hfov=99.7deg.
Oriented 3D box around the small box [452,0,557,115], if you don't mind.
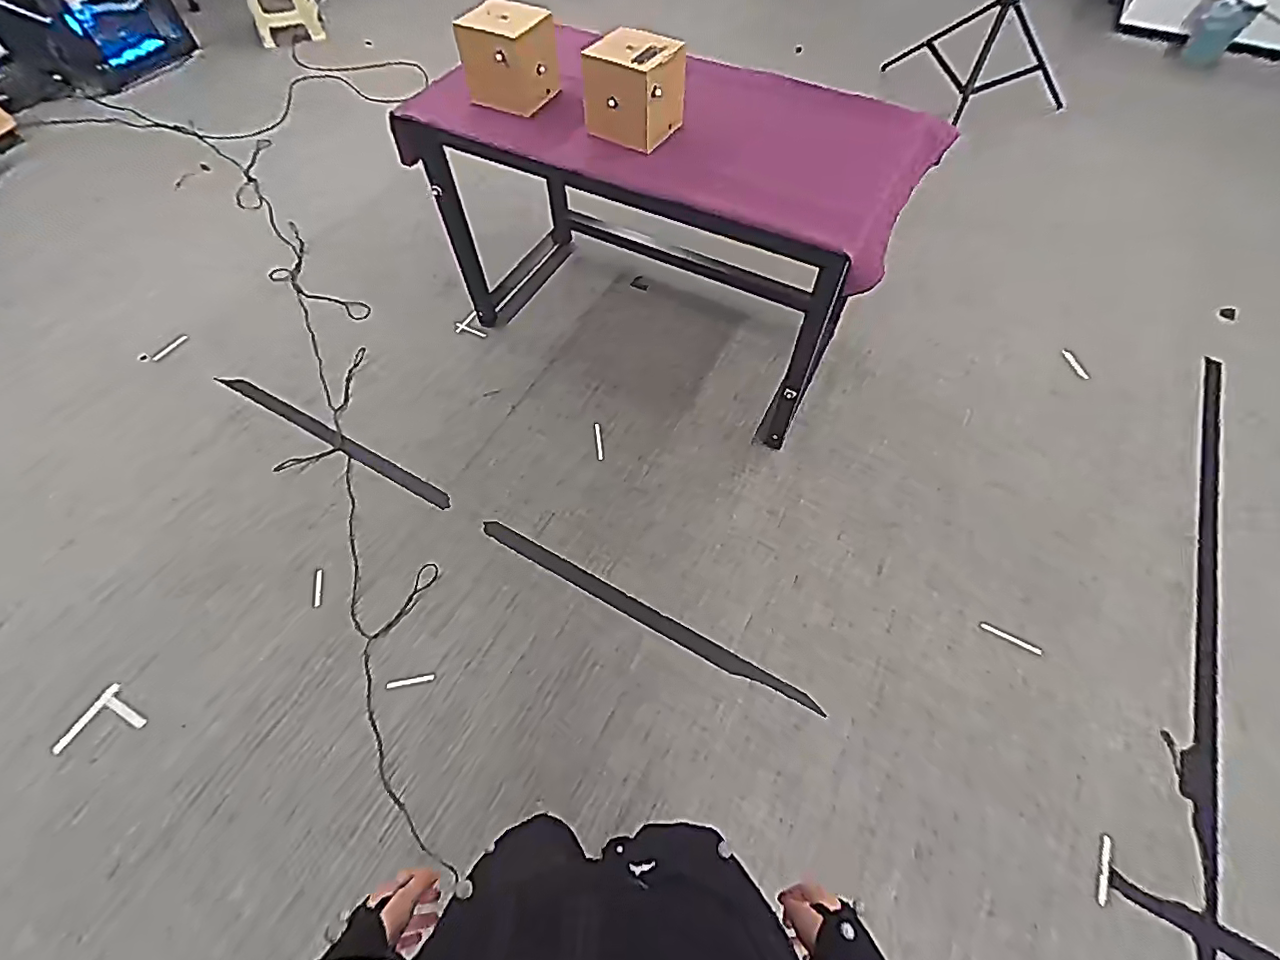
[{"bbox_3d":[-0.322,-1.030,1.327,0.179,0.176,0.168,23,61,13],"label":"small box"}]
